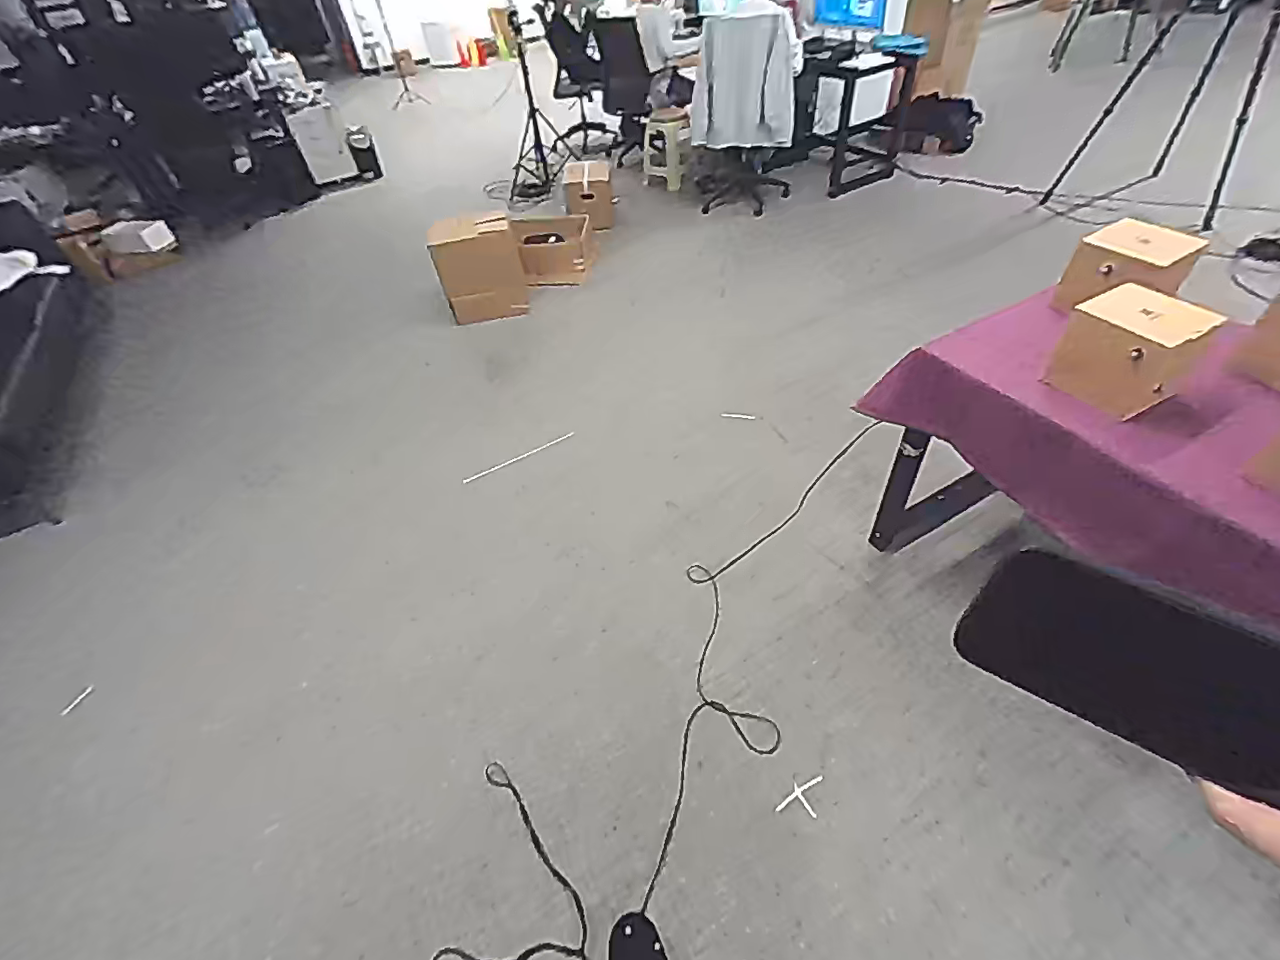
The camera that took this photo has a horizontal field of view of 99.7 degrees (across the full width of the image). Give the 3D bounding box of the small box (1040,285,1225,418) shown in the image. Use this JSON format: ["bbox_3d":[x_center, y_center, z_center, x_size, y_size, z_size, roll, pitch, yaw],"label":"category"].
[{"bbox_3d":[0.942,-0.250,1.056,0.168,0.176,0.179,-24,49,-15],"label":"small box"}]

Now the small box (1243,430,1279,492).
[{"bbox_3d":[1.123,-0.045,0.834,0.168,0.176,0.179,-23,48,-14],"label":"small box"}]
